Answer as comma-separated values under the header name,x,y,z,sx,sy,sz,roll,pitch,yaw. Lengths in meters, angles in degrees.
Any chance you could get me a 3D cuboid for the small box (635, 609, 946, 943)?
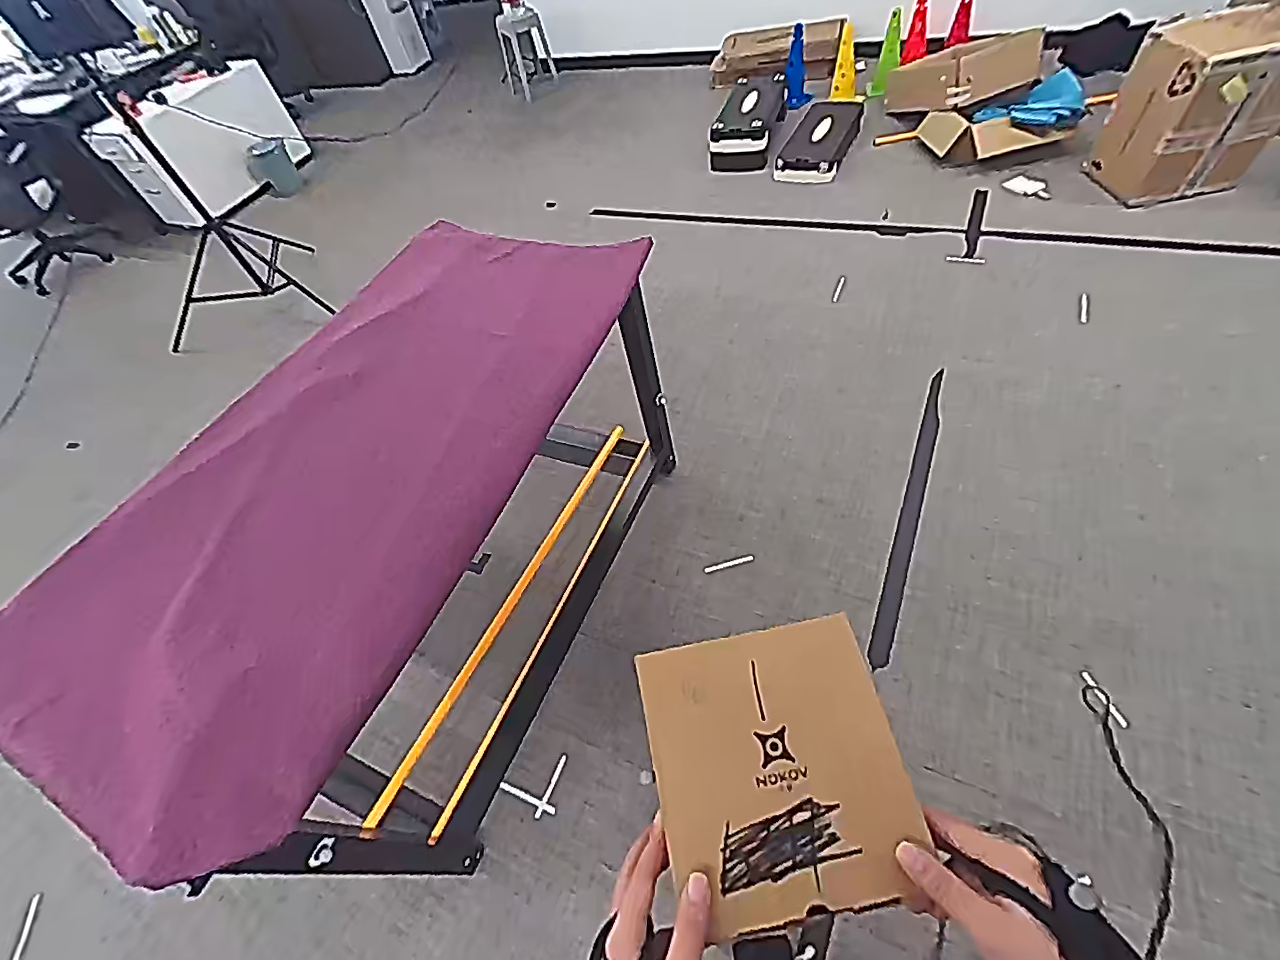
name,x,y,z,sx,sy,sz,roll,pitch,yaw
small box,0.095,0.222,0.427,0.168,0.176,0.179,-10,59,-2
